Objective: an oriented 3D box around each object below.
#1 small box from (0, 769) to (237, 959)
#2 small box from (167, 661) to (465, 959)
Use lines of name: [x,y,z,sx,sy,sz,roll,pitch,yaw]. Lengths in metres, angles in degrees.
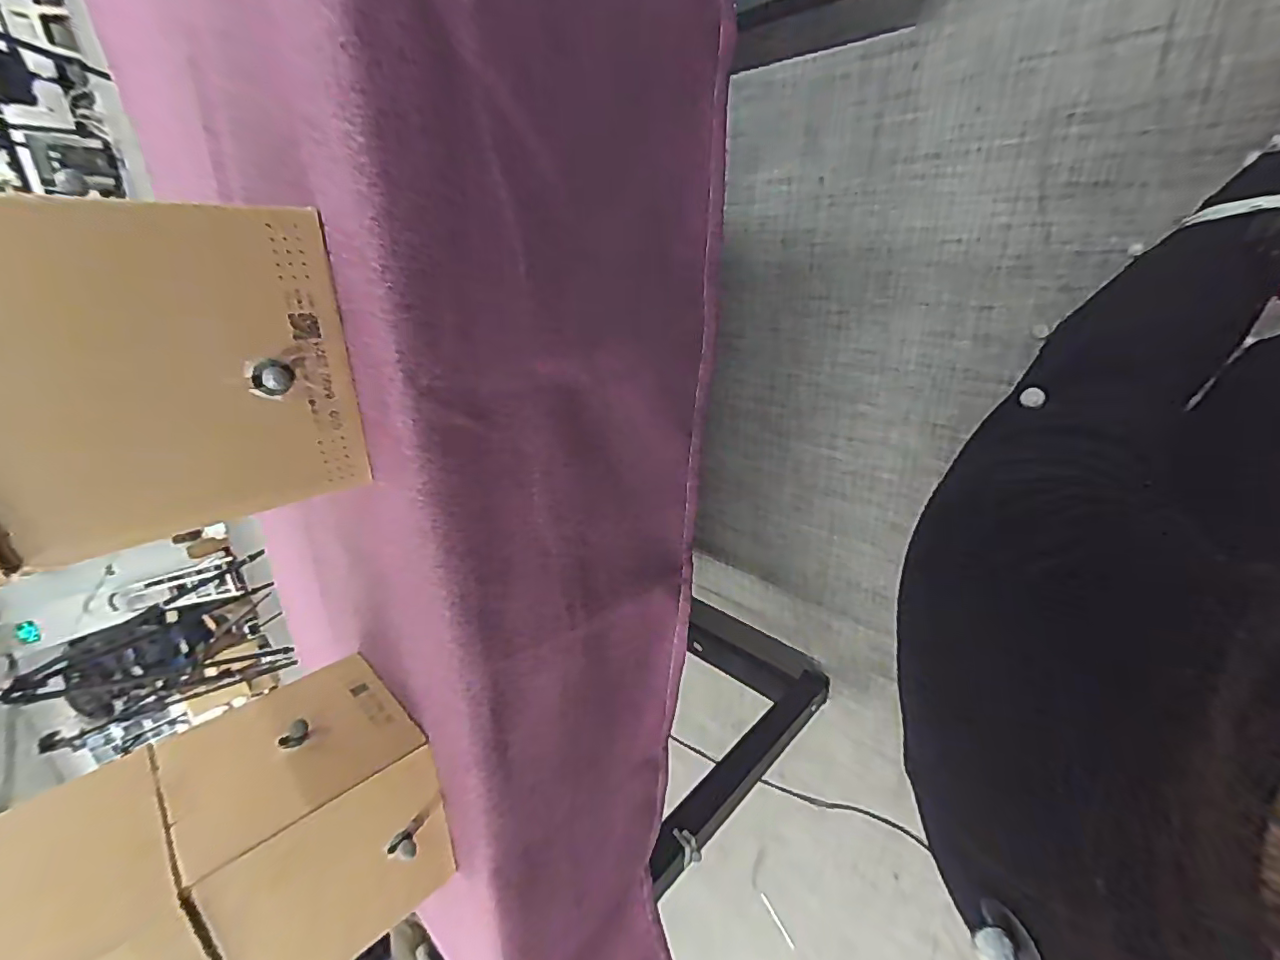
small box: [-0.396,0.344,0.378,0.179,0.176,0.168,20,121,39]
small box: [-0.278,0.298,0.485,0.168,0.176,0.179,19,119,41]
